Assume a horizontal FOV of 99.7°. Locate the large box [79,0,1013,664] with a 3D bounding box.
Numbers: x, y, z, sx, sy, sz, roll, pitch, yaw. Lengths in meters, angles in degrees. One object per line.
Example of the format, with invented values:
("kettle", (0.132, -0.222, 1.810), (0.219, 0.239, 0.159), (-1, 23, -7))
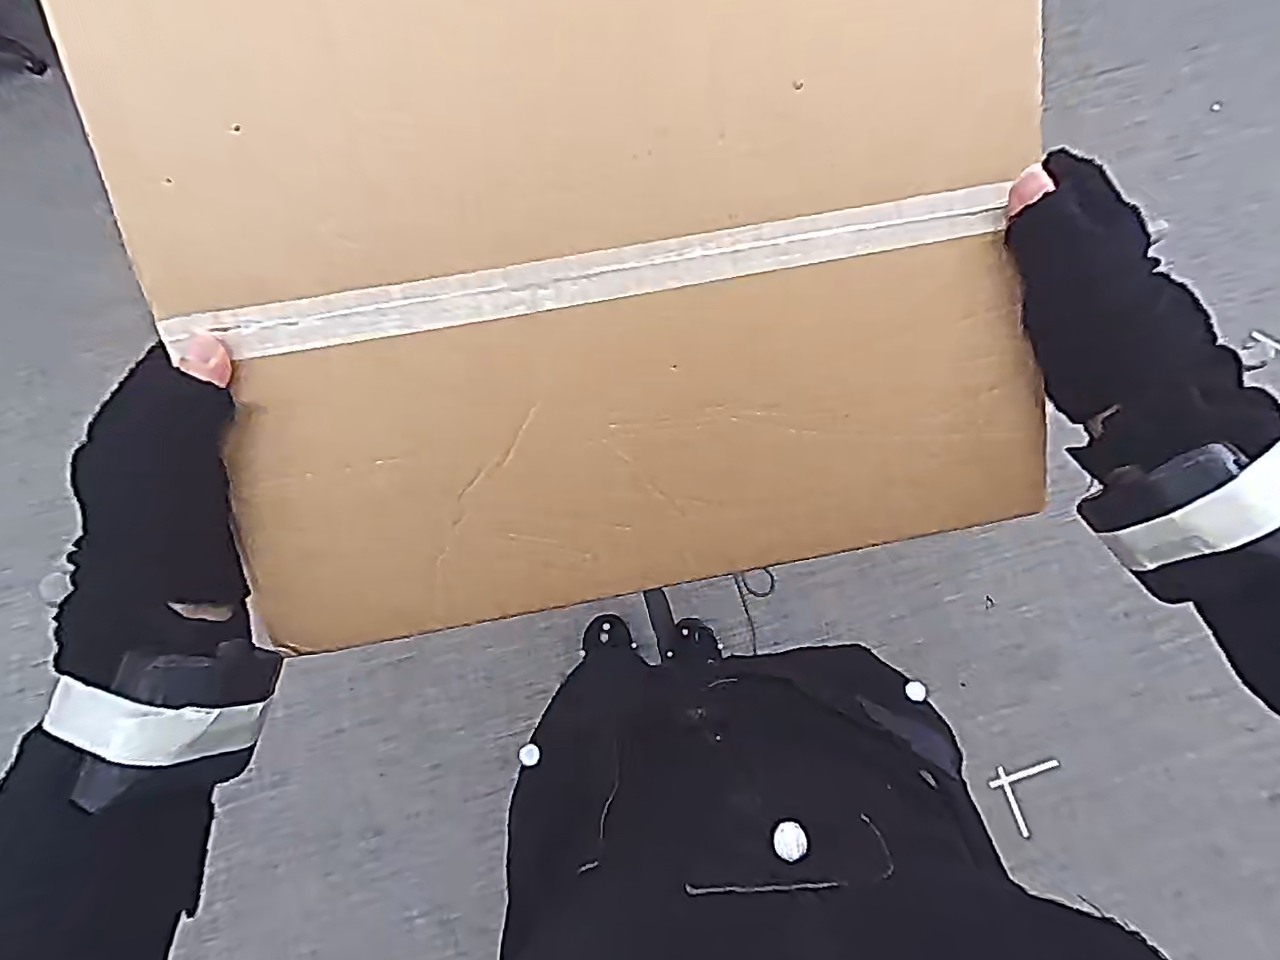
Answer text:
("large box", (-0.021, -0.119, 0.407), (0.408, 0.320, 0.320), (-11, 102, -3))
